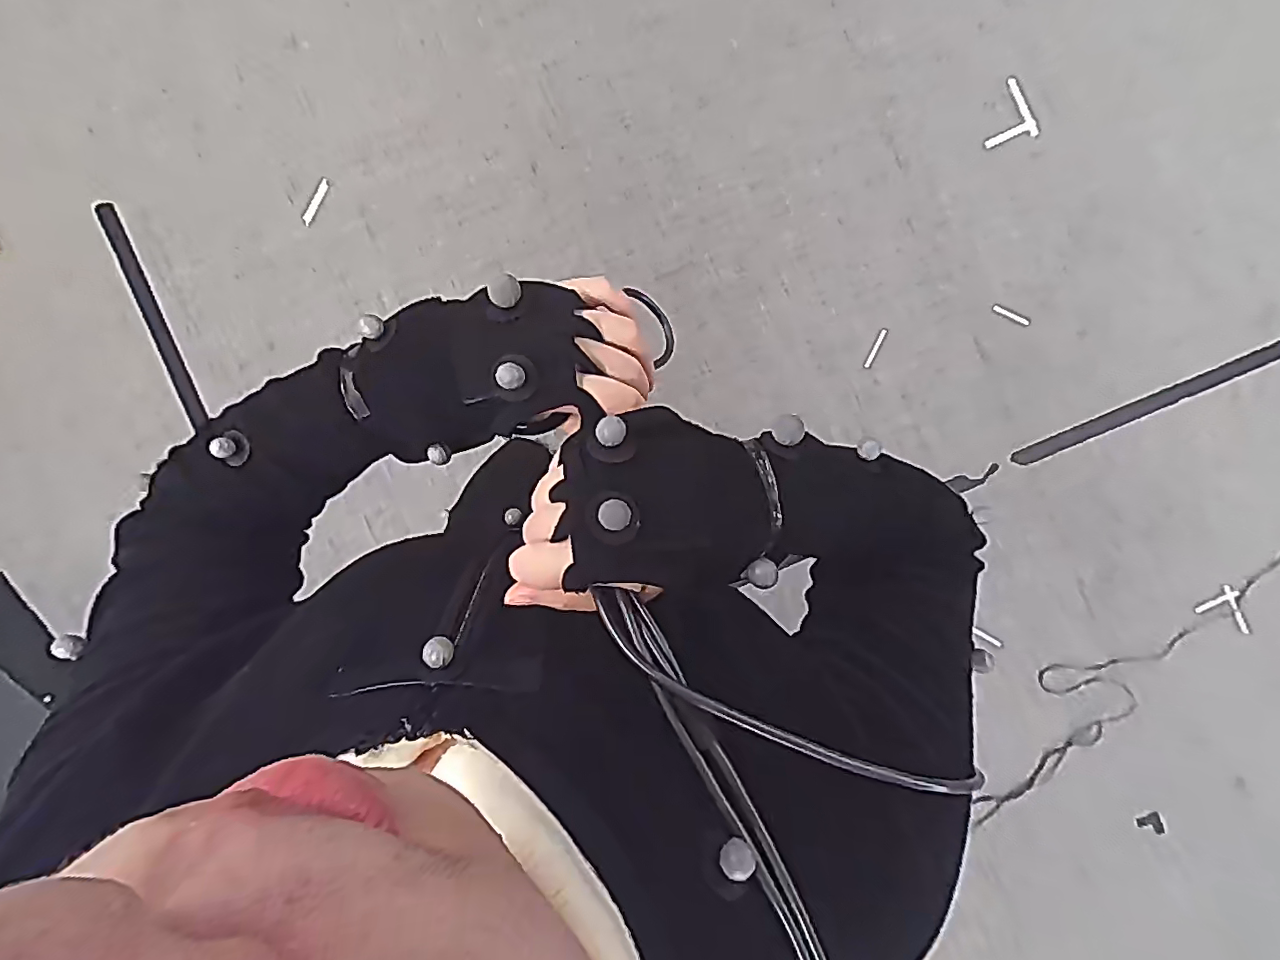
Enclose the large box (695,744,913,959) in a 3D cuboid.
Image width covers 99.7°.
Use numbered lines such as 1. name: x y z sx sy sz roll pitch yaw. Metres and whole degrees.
1. large box: 0.333 0.876 1.197 0.320 0.320 0.408 15 92 -1
